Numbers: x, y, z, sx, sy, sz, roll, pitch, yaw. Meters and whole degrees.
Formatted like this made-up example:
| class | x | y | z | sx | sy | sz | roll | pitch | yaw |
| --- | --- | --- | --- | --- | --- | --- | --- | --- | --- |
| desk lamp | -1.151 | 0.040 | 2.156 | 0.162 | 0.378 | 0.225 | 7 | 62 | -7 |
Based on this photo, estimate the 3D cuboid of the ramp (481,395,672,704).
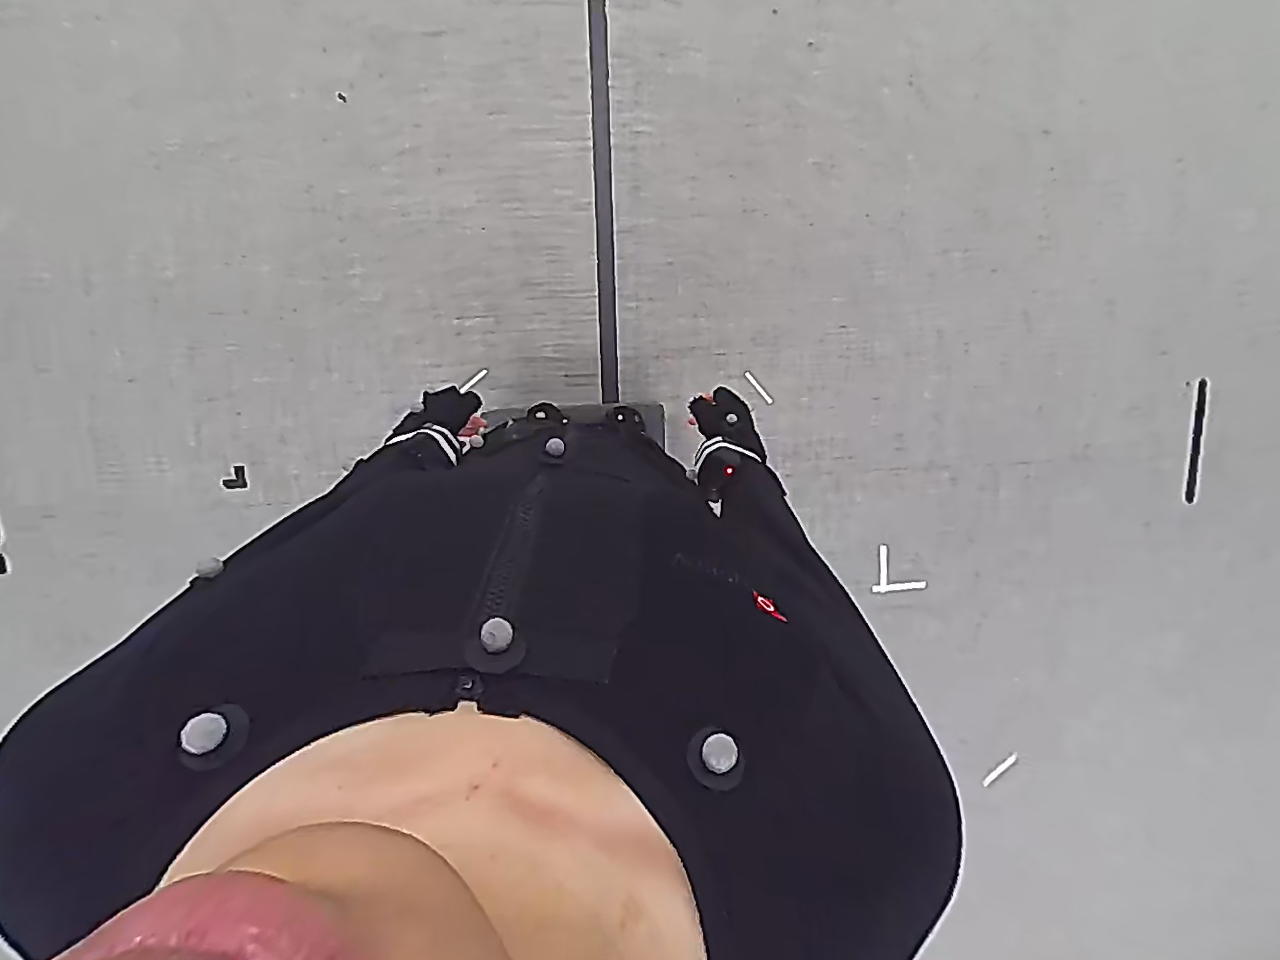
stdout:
| class | x | y | z | sx | sy | sz | roll | pitch | yaw |
| --- | --- | --- | --- | --- | --- | --- | --- | --- | --- |
| ramp | -0.155 | 0.253 | 1.607 | 0.509 | 0.206 | 0.991 | -5 | 101 | -2 |
